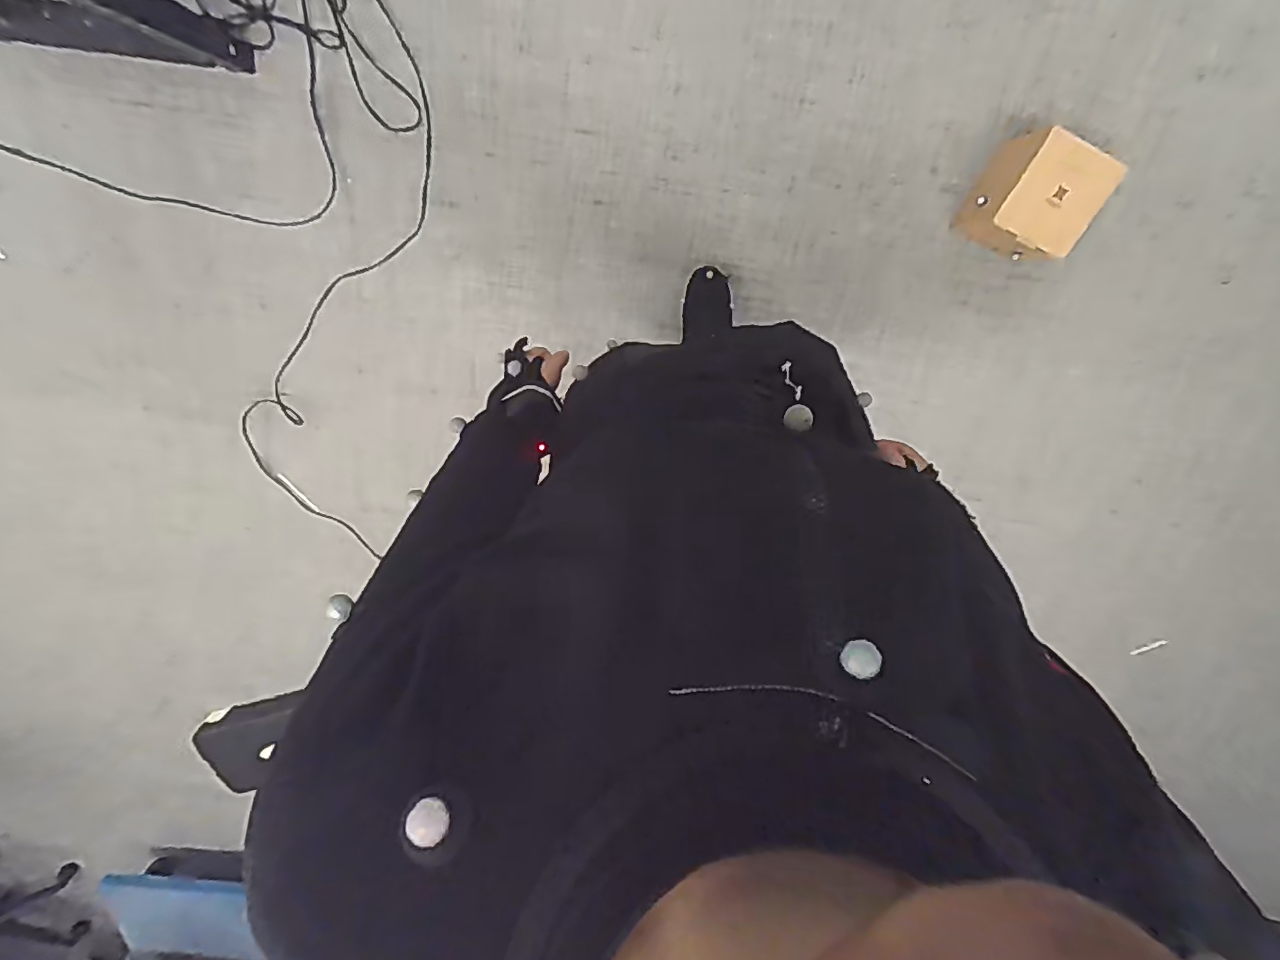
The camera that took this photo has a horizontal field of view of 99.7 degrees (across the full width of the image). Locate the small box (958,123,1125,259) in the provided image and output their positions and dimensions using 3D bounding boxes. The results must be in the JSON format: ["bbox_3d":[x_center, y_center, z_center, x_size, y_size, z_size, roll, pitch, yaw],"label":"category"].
[{"bbox_3d":[0.767,-0.552,1.063,0.168,0.176,0.179,24,110,-7],"label":"small box"}]
